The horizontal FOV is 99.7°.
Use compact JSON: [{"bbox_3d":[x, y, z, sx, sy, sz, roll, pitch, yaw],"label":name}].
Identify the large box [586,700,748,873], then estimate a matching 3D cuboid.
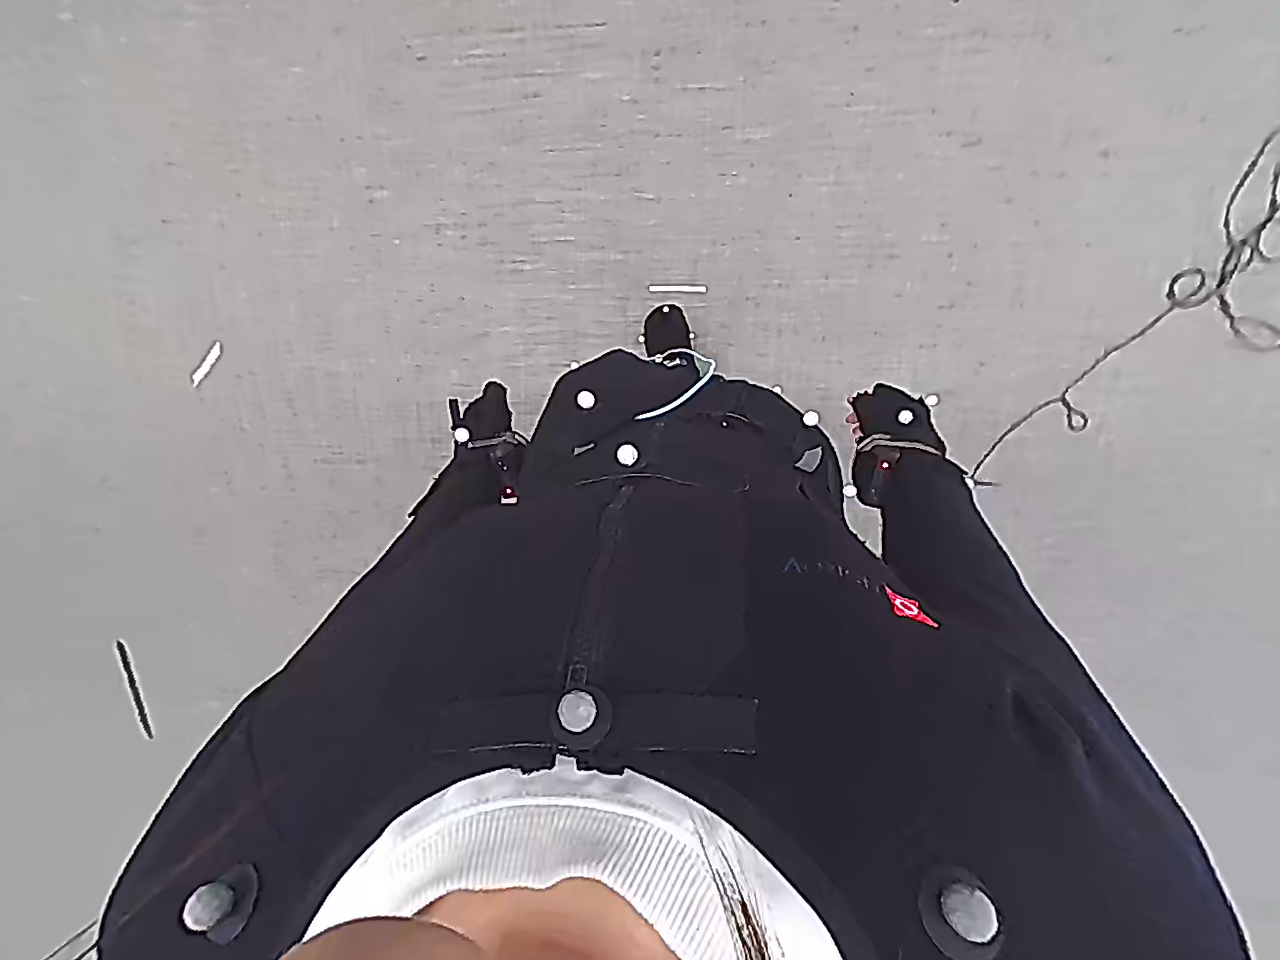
[{"bbox_3d":[0.091,0.858,1.549,0.408,0.320,0.320,-3,104,9],"label":"large box"}]
